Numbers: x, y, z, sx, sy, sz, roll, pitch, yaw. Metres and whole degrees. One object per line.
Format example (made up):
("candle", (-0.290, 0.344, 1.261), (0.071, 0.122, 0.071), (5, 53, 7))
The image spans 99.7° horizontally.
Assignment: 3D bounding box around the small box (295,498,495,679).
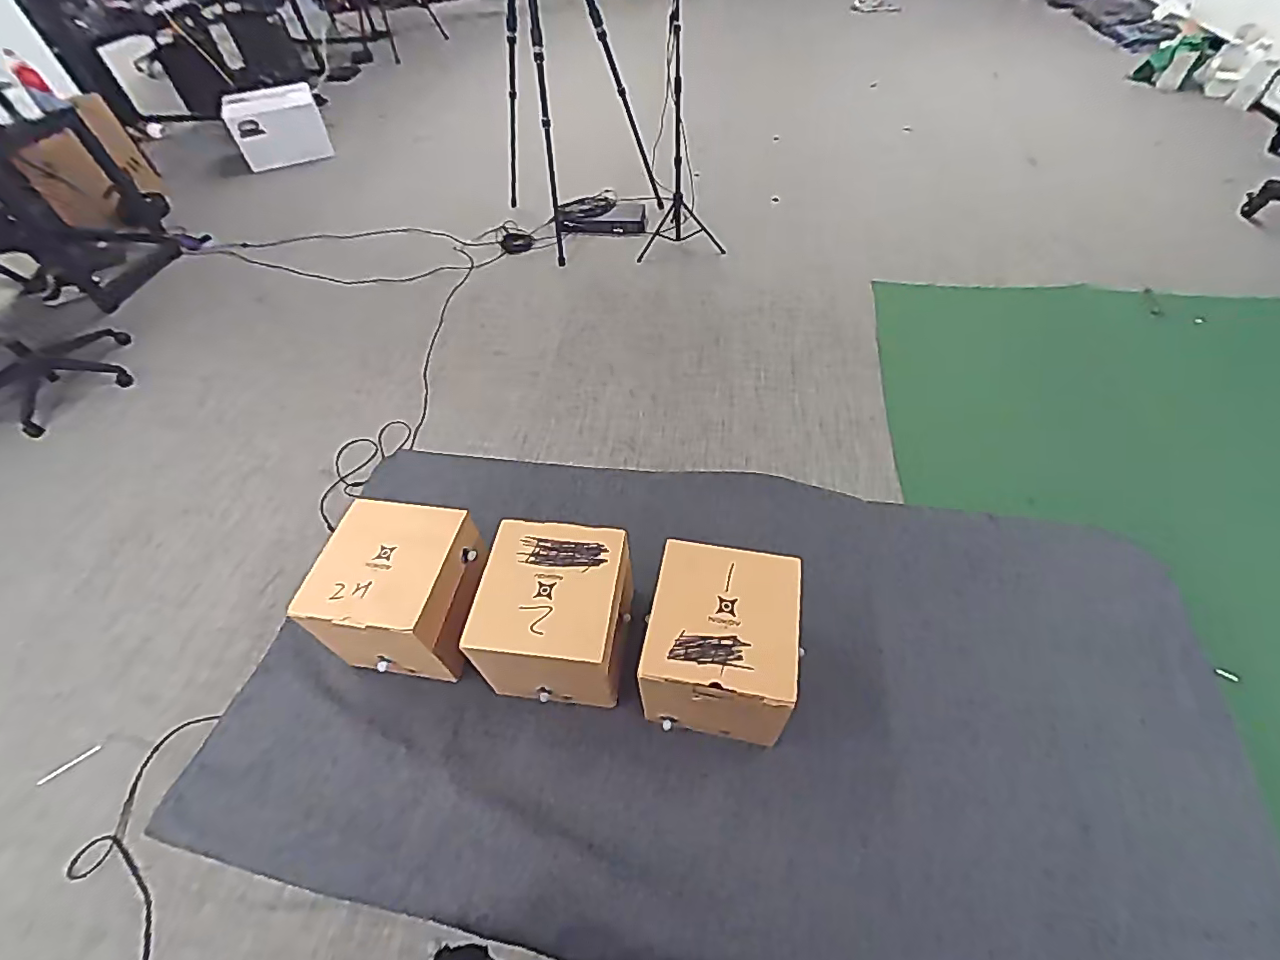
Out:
("small box", (-0.315, 0.150, 0.743), (0.168, 0.176, 0.179), (6, 52, 9))
